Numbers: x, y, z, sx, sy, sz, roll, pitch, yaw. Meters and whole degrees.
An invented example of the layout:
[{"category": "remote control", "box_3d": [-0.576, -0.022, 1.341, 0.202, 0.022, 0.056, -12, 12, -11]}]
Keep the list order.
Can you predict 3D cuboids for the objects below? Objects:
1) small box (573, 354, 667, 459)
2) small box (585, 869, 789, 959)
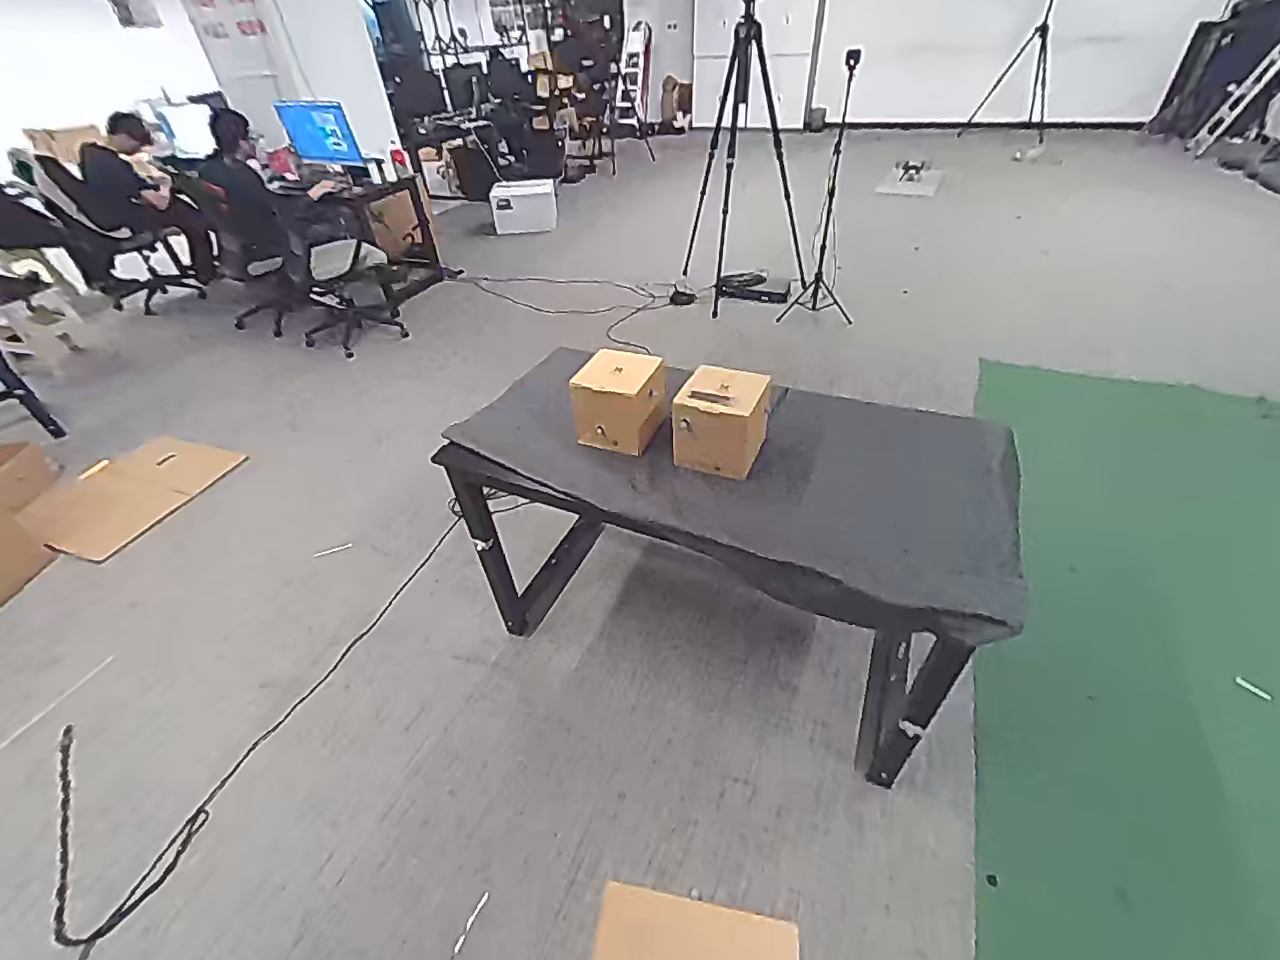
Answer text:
[{"category": "small box", "box_3d": [-0.042, -0.178, 1.298, 0.168, 0.176, 0.179, 13, 44, 19]}, {"category": "small box", "box_3d": [0.026, 0.471, 0.474, 0.168, 0.176, 0.179, 10, 50, 4]}]
